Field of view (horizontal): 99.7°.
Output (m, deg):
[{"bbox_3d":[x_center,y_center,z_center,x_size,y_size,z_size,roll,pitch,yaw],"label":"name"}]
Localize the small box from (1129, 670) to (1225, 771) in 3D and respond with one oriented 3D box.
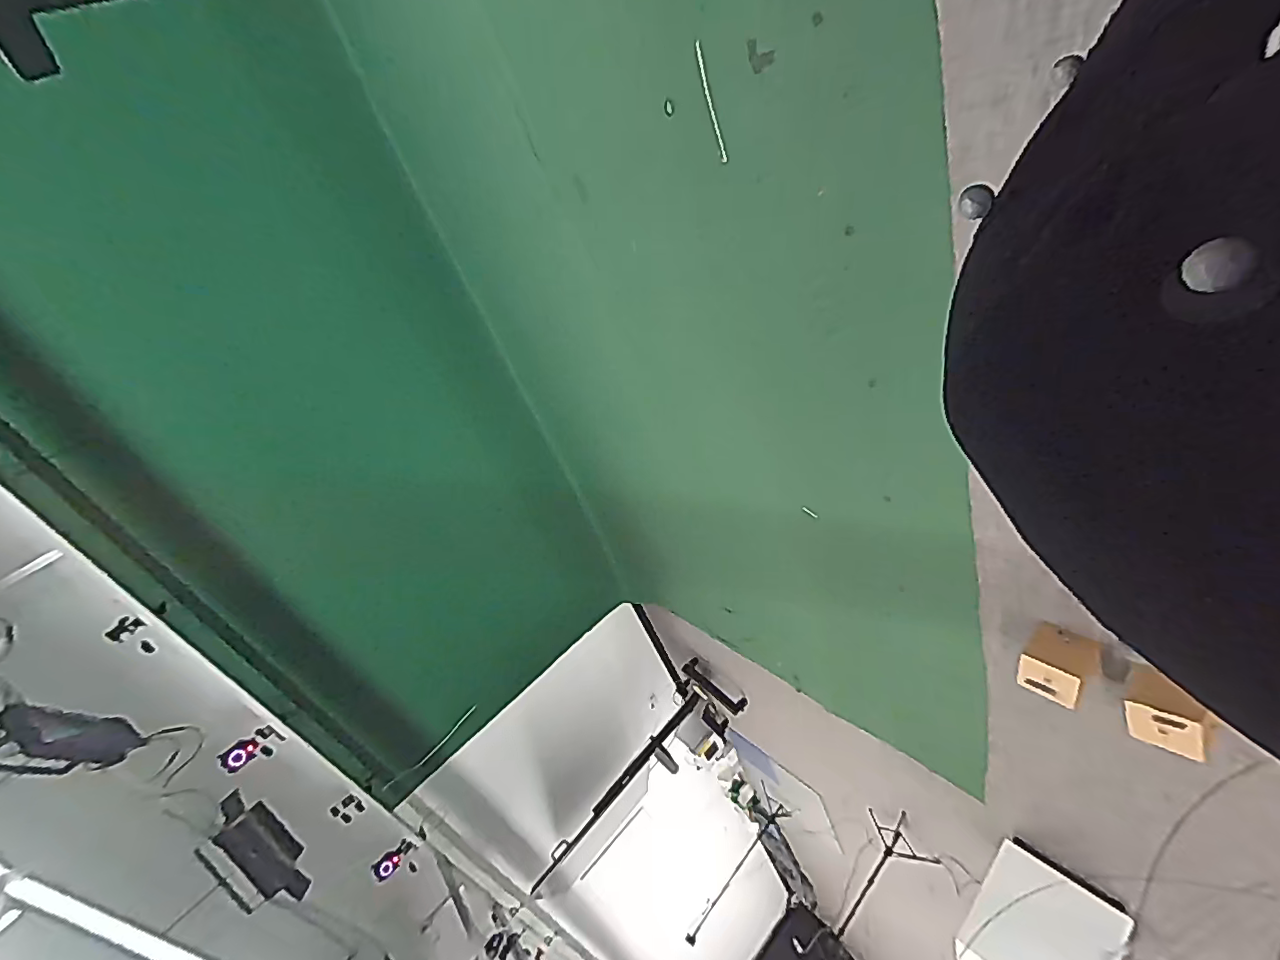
[{"bbox_3d":[1.571,0.692,1.580,0.168,0.176,0.179,9,132,57],"label":"small box"}]
